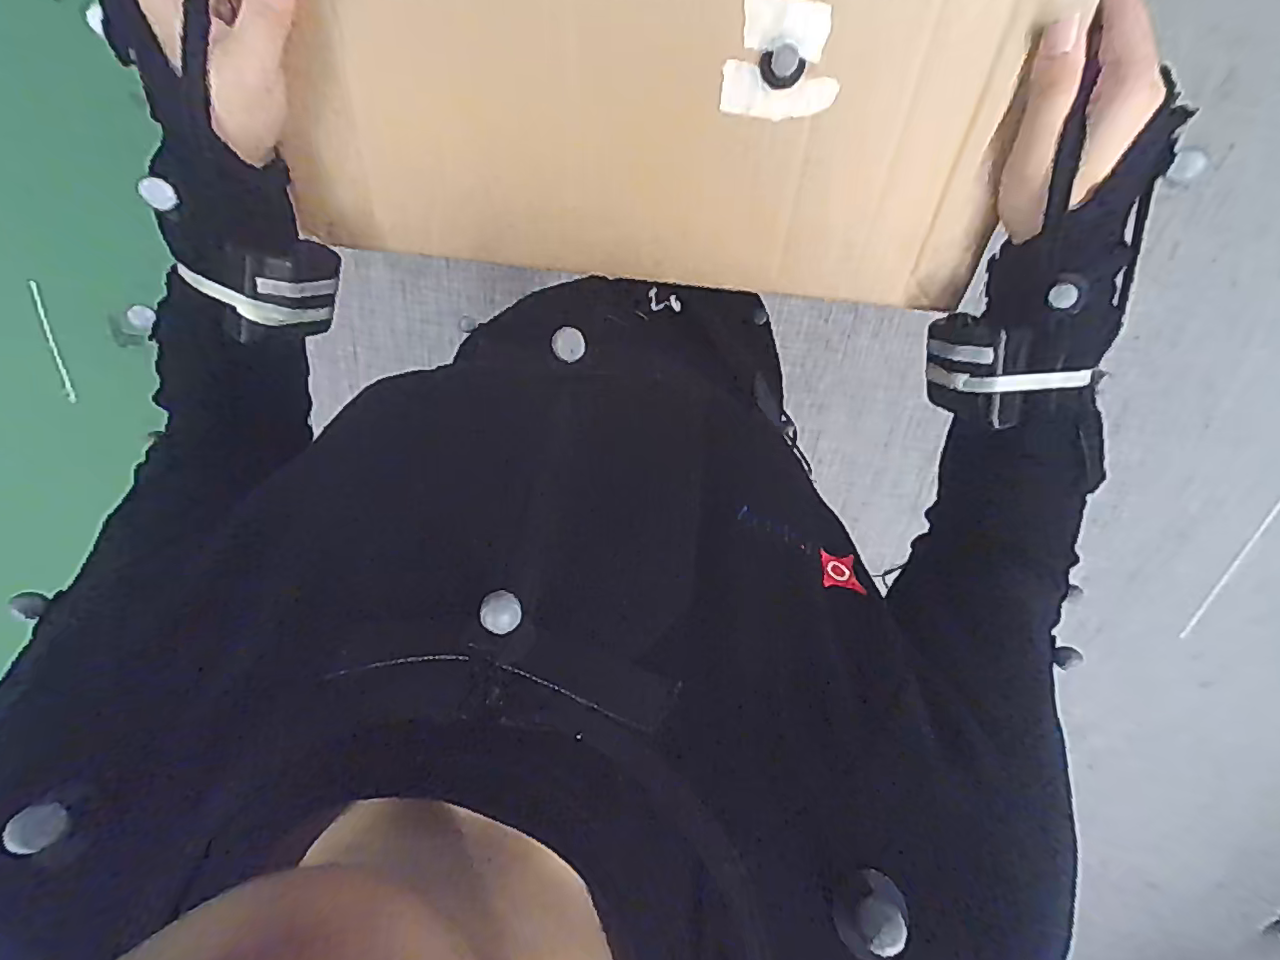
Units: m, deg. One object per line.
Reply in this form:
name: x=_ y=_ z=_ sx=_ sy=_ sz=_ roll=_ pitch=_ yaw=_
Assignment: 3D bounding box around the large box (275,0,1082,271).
large box: x=0.022 y=-0.354 z=0.363 sx=0.408 sy=0.320 sz=0.320 roll=5 pitch=128 yaw=-1
